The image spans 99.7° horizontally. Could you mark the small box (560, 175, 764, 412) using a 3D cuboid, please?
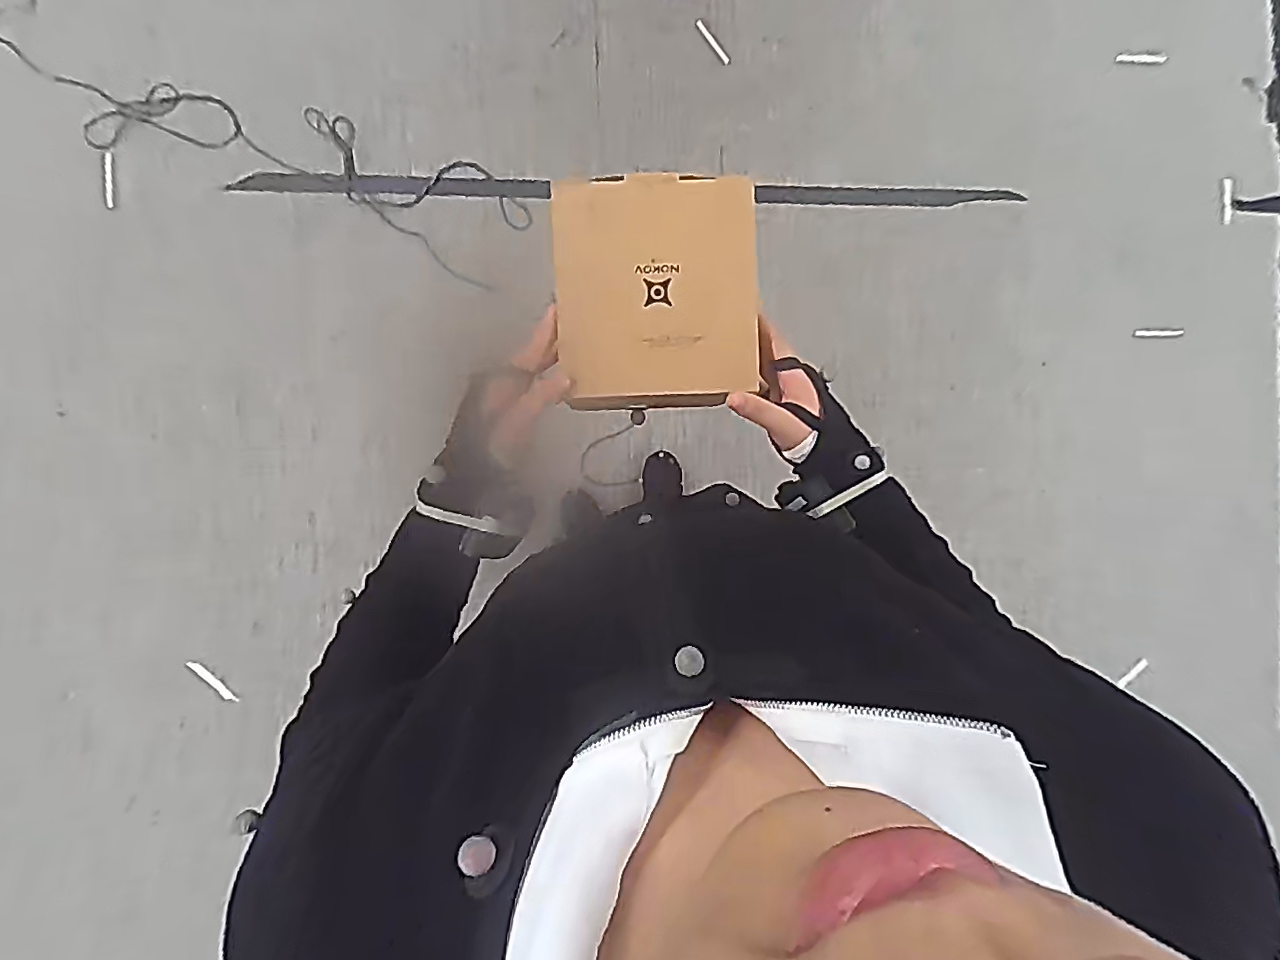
[{"bbox_3d":[0.014,-0.162,0.518,0.168,0.176,0.179,-3,94,-2],"label":"small box"}]
